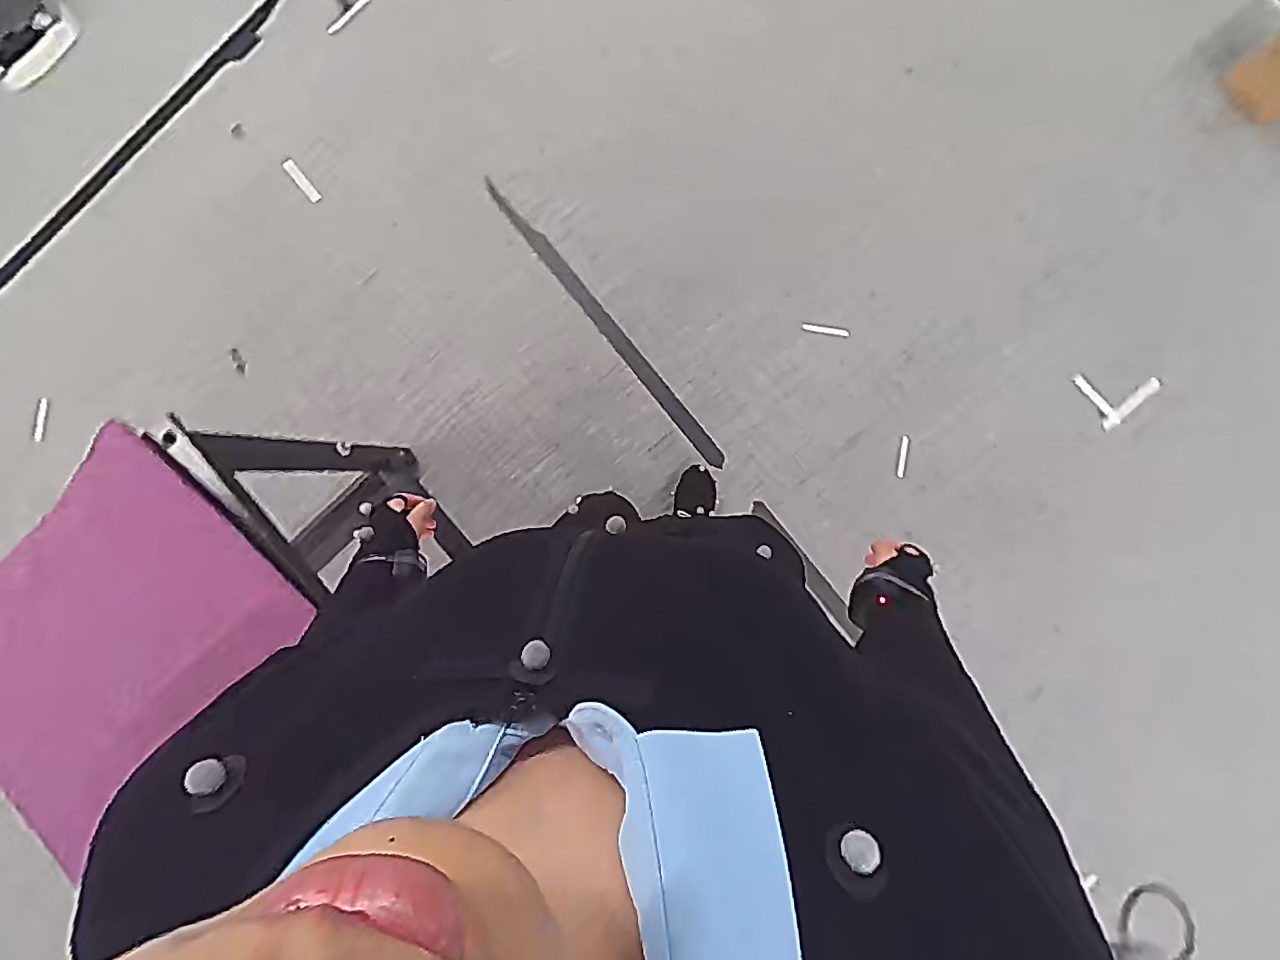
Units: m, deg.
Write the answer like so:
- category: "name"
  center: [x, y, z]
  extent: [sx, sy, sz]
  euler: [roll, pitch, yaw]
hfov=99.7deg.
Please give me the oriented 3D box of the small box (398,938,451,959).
- category: "small box"
  center: [-0.327, 0.781, 0.713]
  extent: [0.179, 0.176, 0.168]
  euler: [-43, 86, 2]

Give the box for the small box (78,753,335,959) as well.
- category: "small box"
  center: [-0.564, 0.519, 0.730]
  extent: [0.179, 0.176, 0.168]
  euler: [-42, 88, 3]
